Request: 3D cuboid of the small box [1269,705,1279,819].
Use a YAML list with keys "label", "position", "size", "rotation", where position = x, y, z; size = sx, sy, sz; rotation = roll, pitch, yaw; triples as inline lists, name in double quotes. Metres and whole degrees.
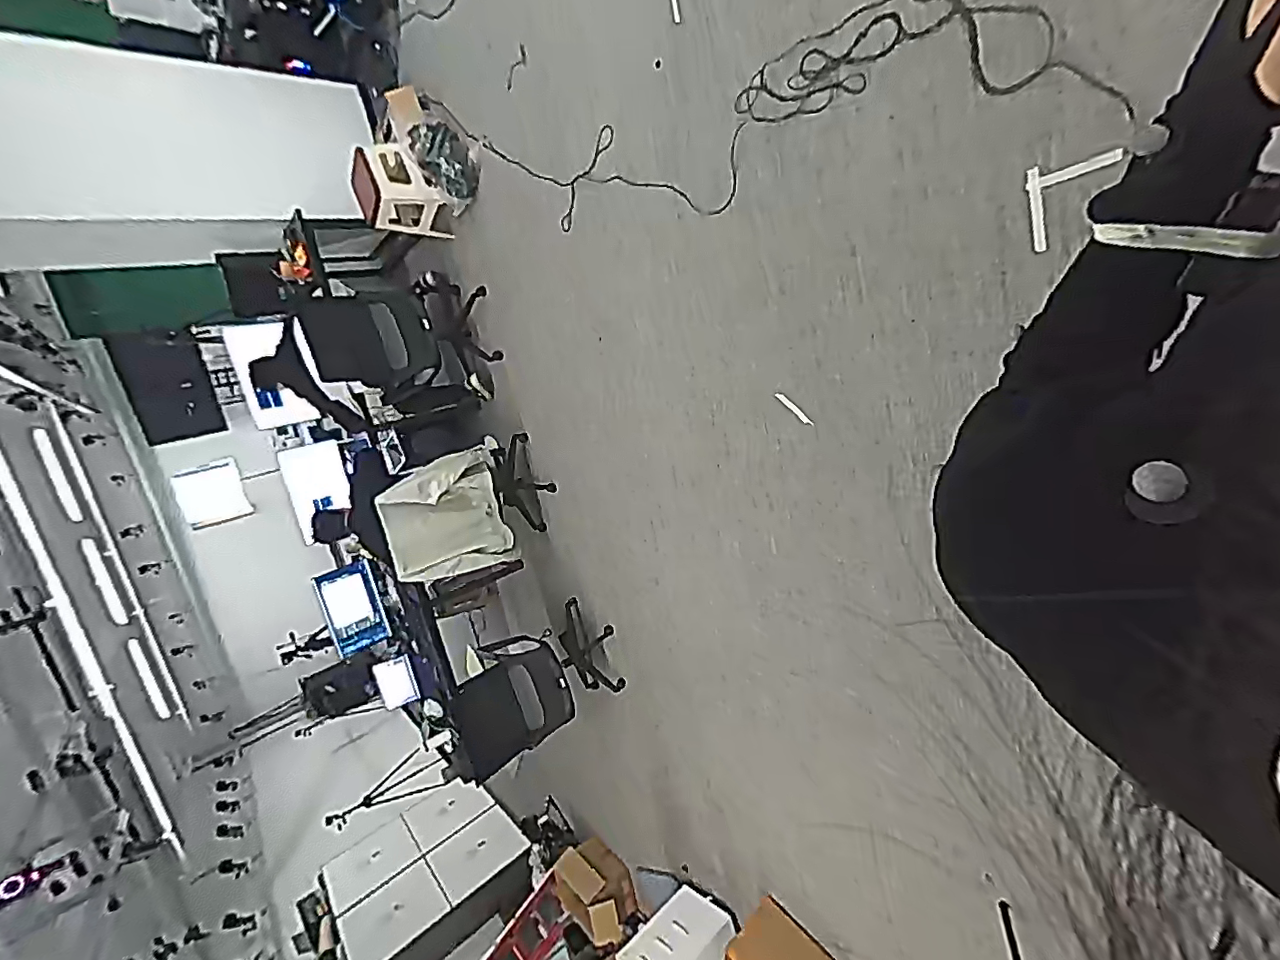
- label: "small box"
  position: [0.888, 0.325, 0.637]
  size: [0.168, 0.176, 0.179]
  rotation: [12, 114, 46]
